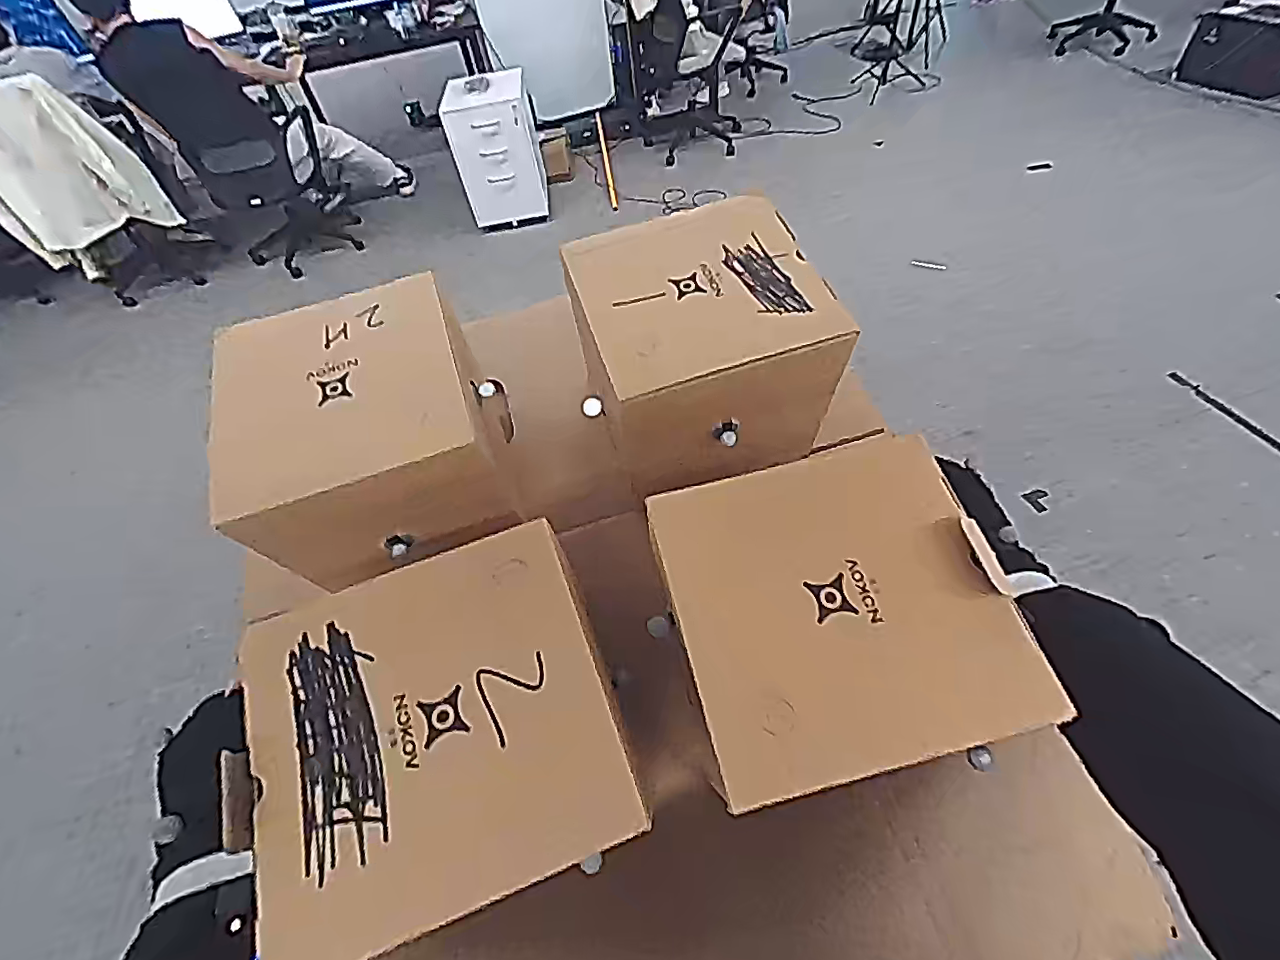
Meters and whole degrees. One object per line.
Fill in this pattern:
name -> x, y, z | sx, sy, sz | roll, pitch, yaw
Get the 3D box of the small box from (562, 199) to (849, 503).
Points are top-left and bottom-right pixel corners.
small box -> 0.046, -0.102, 0.473 | 0.179, 0.176, 0.168 | -17, 62, -4

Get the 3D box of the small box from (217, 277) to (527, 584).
small box -> -0.205, -0.028, 0.451 | 0.168, 0.176, 0.179 | -18, 61, -6
